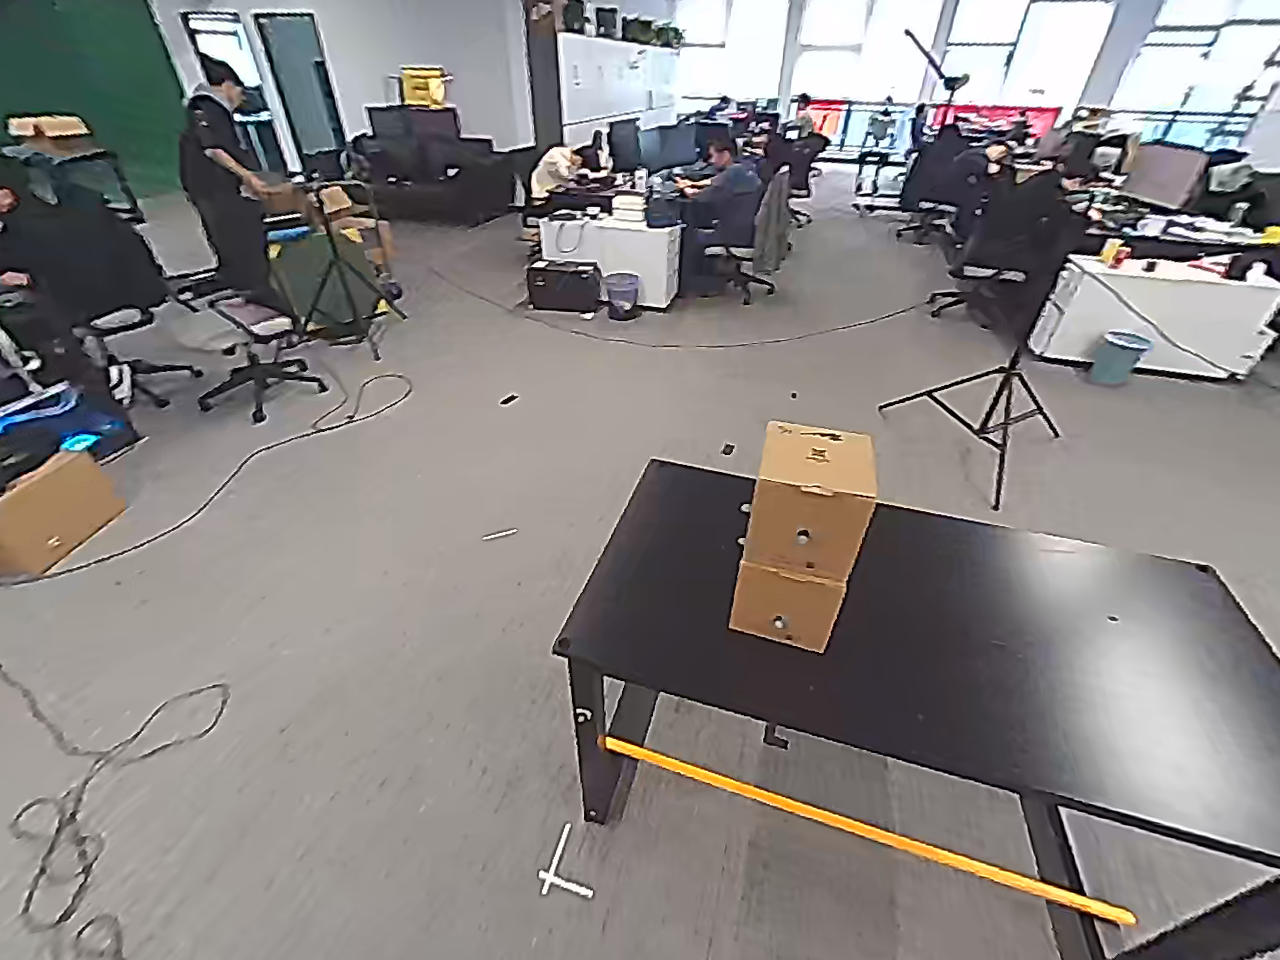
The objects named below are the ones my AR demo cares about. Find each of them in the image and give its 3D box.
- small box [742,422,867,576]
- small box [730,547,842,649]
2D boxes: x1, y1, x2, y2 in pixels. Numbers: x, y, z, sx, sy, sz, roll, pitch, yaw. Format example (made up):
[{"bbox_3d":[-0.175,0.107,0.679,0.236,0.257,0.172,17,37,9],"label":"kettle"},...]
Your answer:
[{"bbox_3d":[0.263,0.030,0.880,0.168,0.176,0.179,10,38,12],"label":"small box"},{"bbox_3d":[0.262,0.167,0.971,0.168,0.176,0.179,11,38,15],"label":"small box"}]
